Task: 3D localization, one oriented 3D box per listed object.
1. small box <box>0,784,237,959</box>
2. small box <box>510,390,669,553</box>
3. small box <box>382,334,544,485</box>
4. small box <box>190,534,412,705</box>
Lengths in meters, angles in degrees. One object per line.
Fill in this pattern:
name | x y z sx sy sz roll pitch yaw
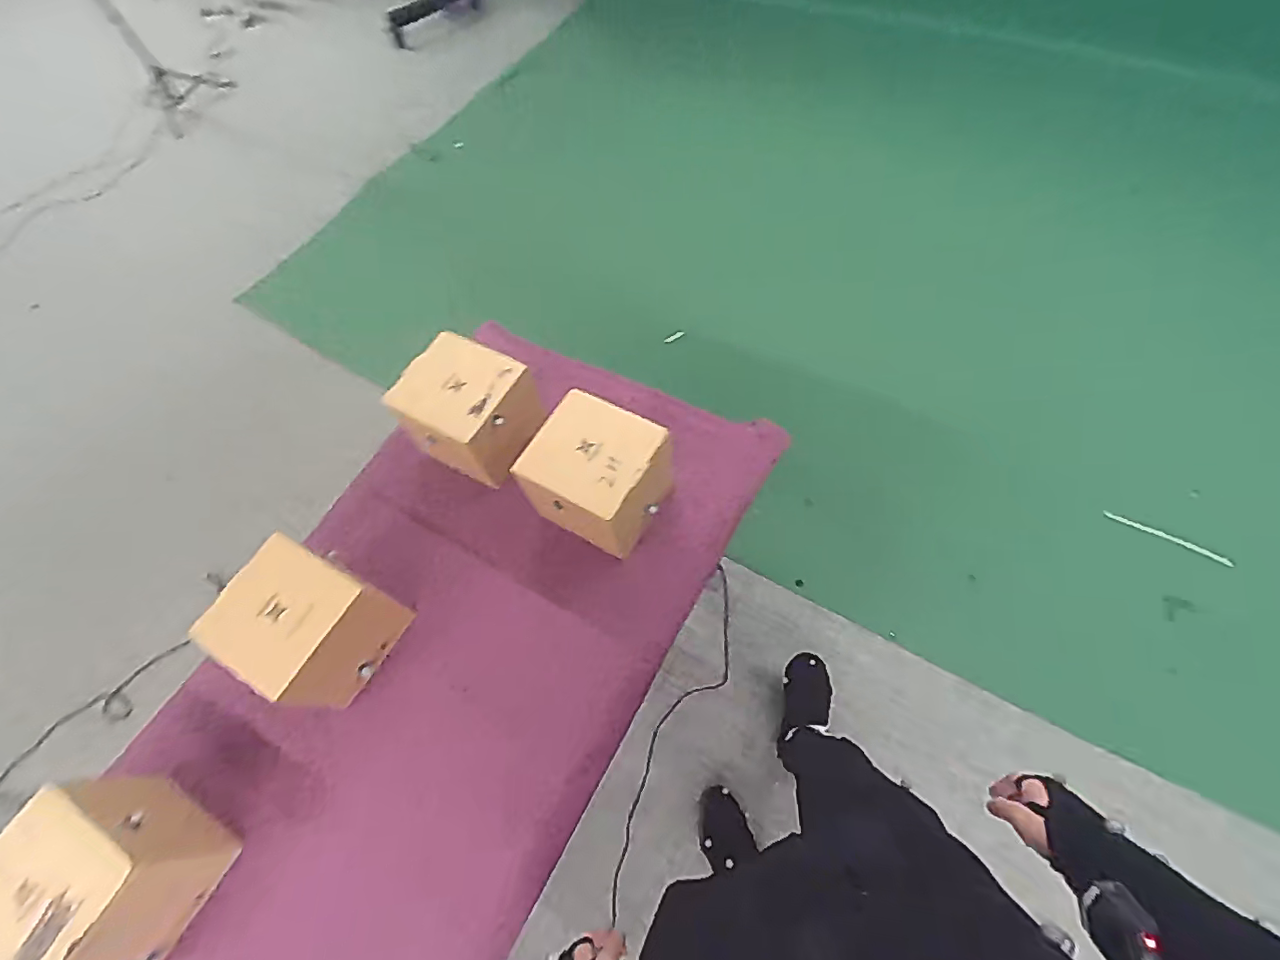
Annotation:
small box | -0.656 0.494 0.660 0.179 0.176 0.168 24 67 17
small box | -0.069 -0.007 0.859 0.179 0.176 0.168 26 69 18
small box | -0.295 -0.115 0.937 0.179 0.176 0.168 25 68 16
small box | -0.479 0.211 0.791 0.179 0.176 0.168 26 69 16
